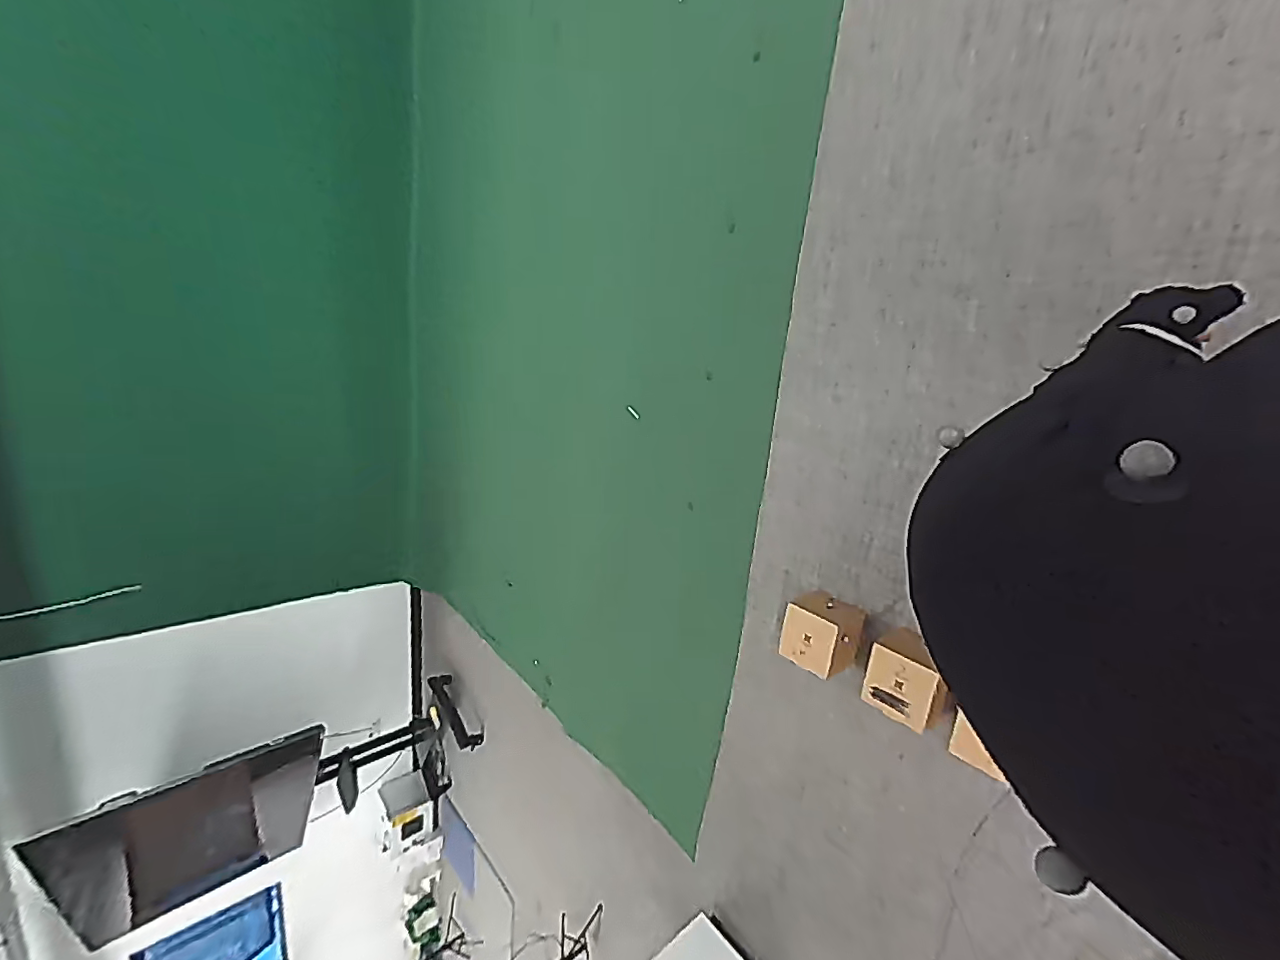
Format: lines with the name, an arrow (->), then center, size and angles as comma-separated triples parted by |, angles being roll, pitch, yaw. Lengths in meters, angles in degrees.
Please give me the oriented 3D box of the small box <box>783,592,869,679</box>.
small box -> 0.552, 0.450, 1.602 | 0.168, 0.176, 0.179 | 22, 111, 46
